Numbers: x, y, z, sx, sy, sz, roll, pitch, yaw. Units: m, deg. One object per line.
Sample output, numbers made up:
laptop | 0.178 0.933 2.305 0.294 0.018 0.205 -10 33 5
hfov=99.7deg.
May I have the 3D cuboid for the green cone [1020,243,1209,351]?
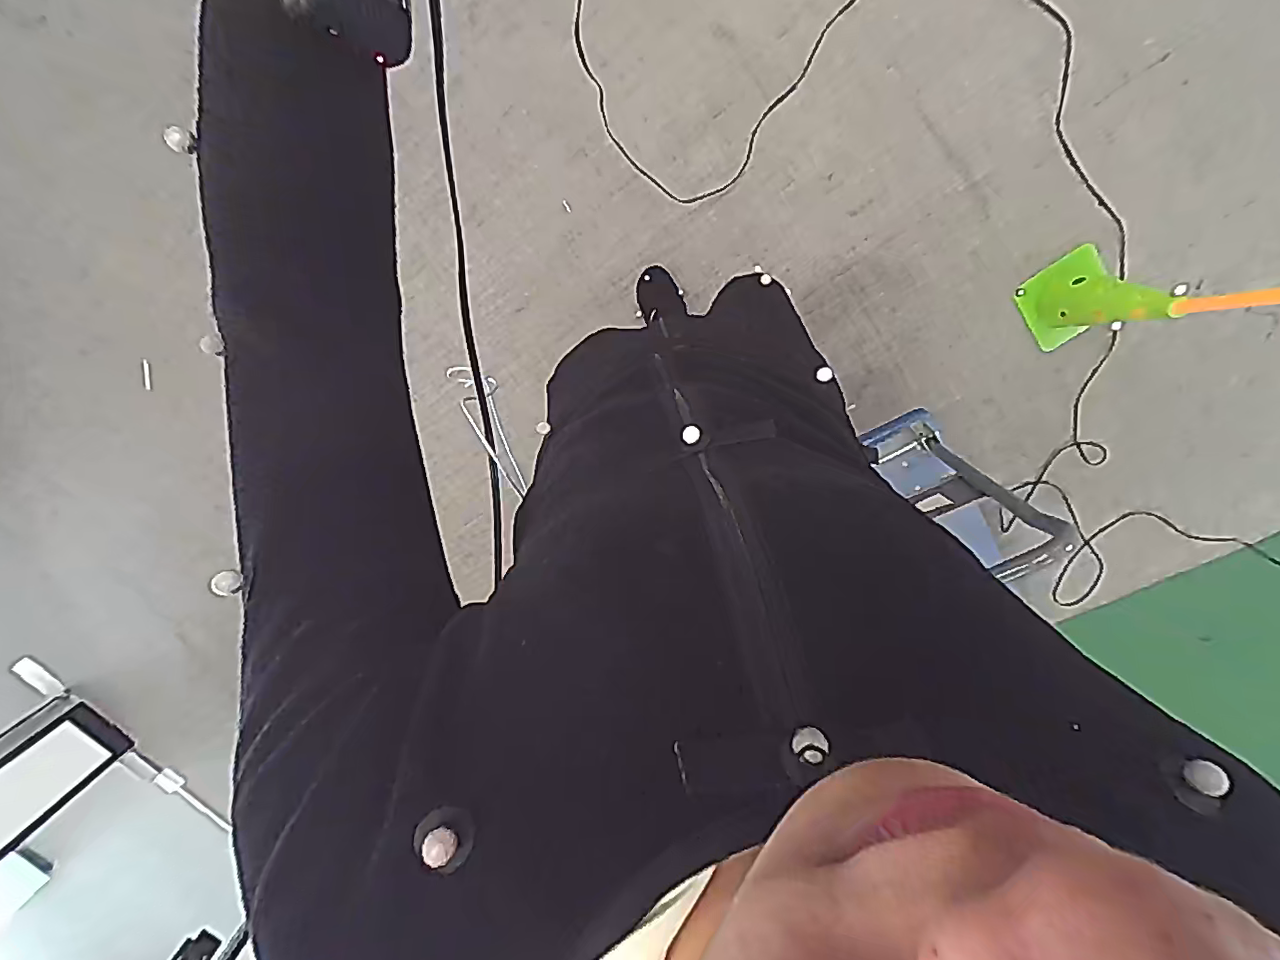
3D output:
green cone | 1.077 -0.395 1.201 0.202 0.368 0.200 -36 104 16
